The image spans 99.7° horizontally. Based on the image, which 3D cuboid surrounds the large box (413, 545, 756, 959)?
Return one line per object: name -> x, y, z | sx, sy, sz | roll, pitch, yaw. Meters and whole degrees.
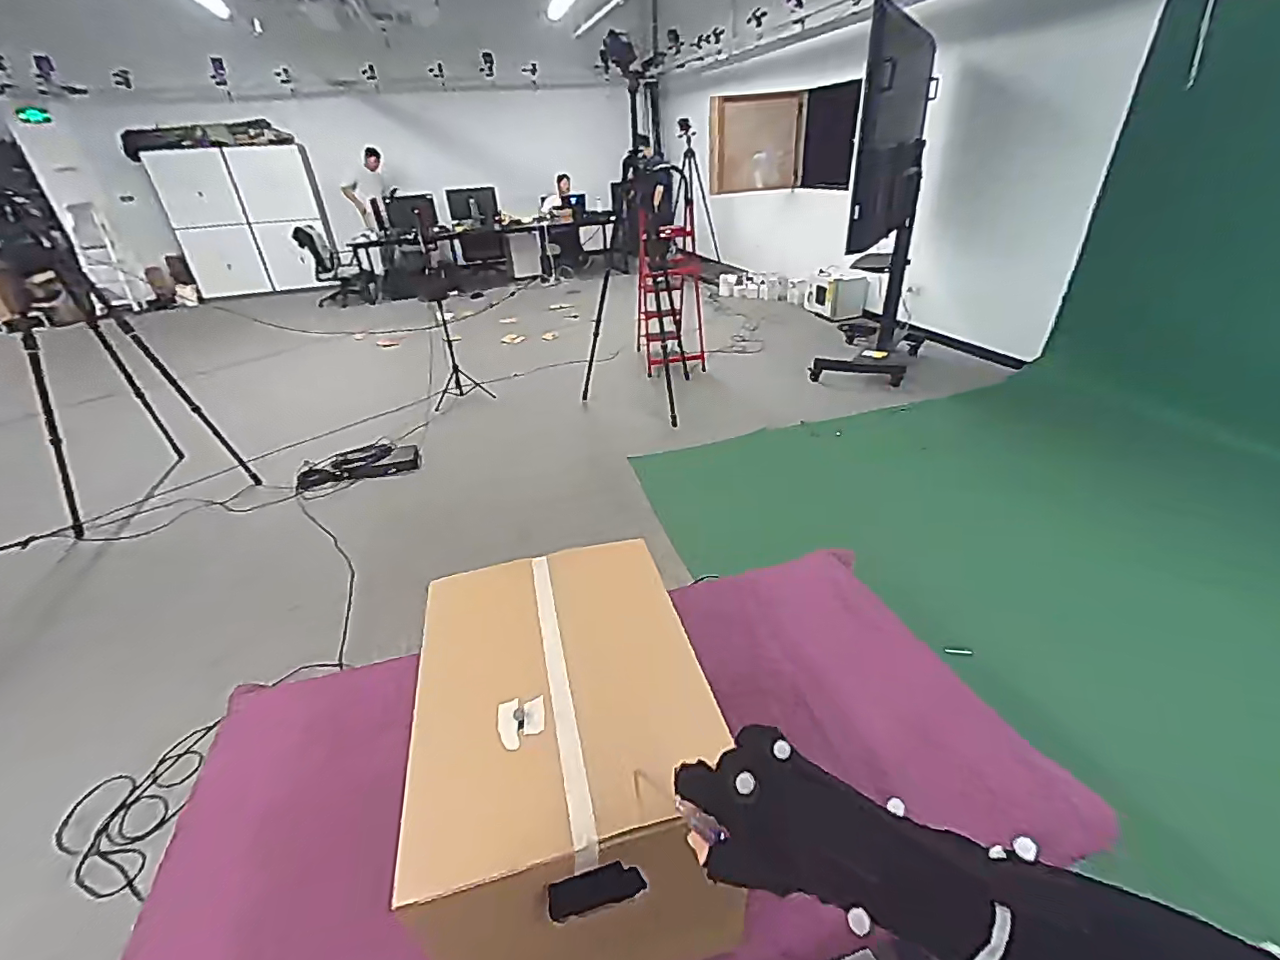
large box -> -0.086, 0.345, 0.709 | 0.320, 0.320, 0.408 | -10, 32, -11
